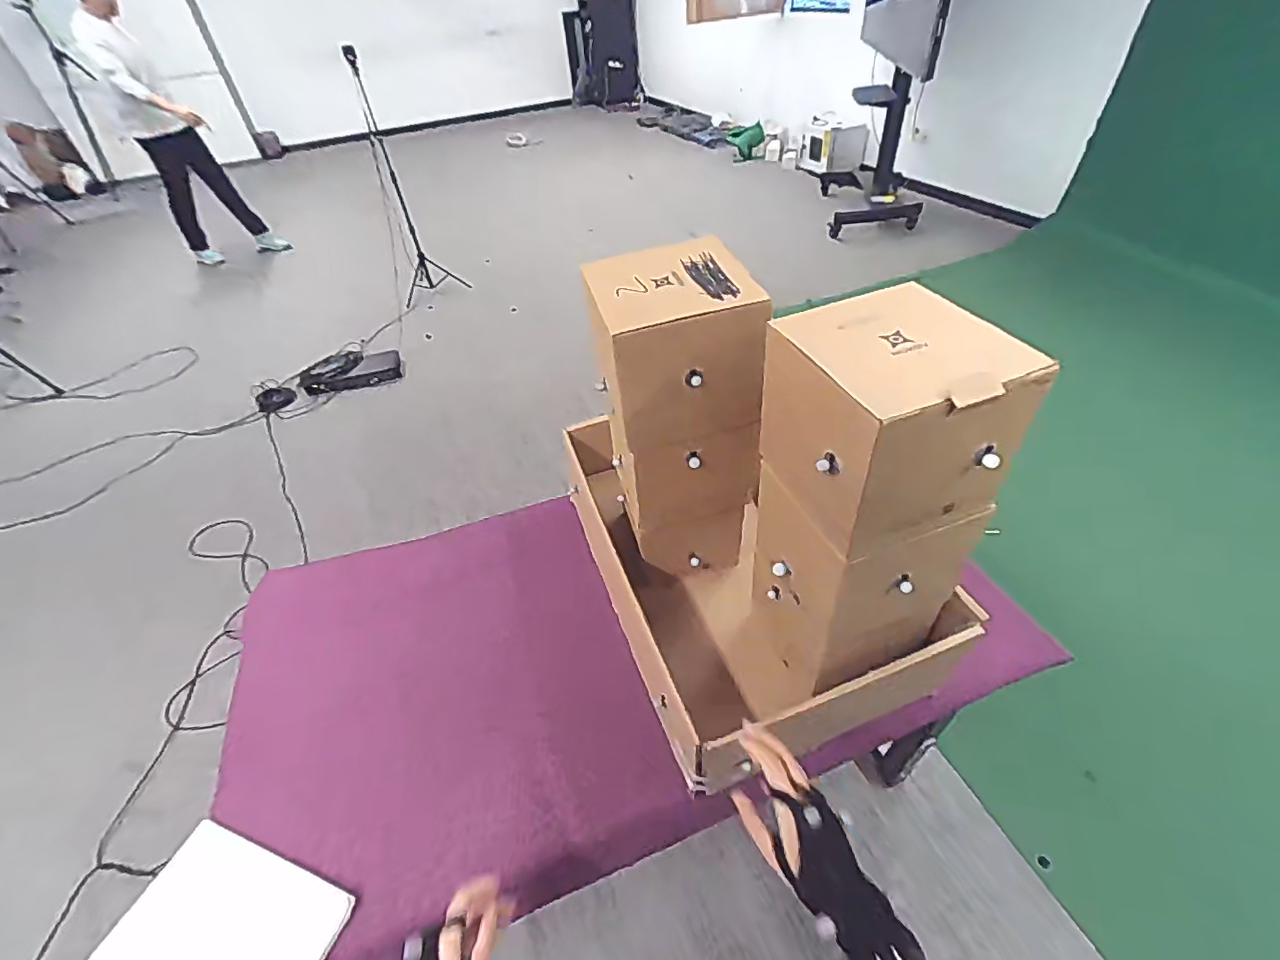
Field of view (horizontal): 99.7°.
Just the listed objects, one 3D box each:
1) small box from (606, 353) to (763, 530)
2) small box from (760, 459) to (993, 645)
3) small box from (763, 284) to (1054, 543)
[{"bbox_3d":[0.058,-0.054,0.784,0.179,0.176,0.168,-14,47,-7],"label":"small box"},{"bbox_3d":[0.254,0.060,0.633,0.179,0.176,0.168,-18,44,-9],"label":"small box"},{"bbox_3d":[0.233,-0.060,0.525,0.168,0.176,0.179,-17,44,-9],"label":"small box"}]
